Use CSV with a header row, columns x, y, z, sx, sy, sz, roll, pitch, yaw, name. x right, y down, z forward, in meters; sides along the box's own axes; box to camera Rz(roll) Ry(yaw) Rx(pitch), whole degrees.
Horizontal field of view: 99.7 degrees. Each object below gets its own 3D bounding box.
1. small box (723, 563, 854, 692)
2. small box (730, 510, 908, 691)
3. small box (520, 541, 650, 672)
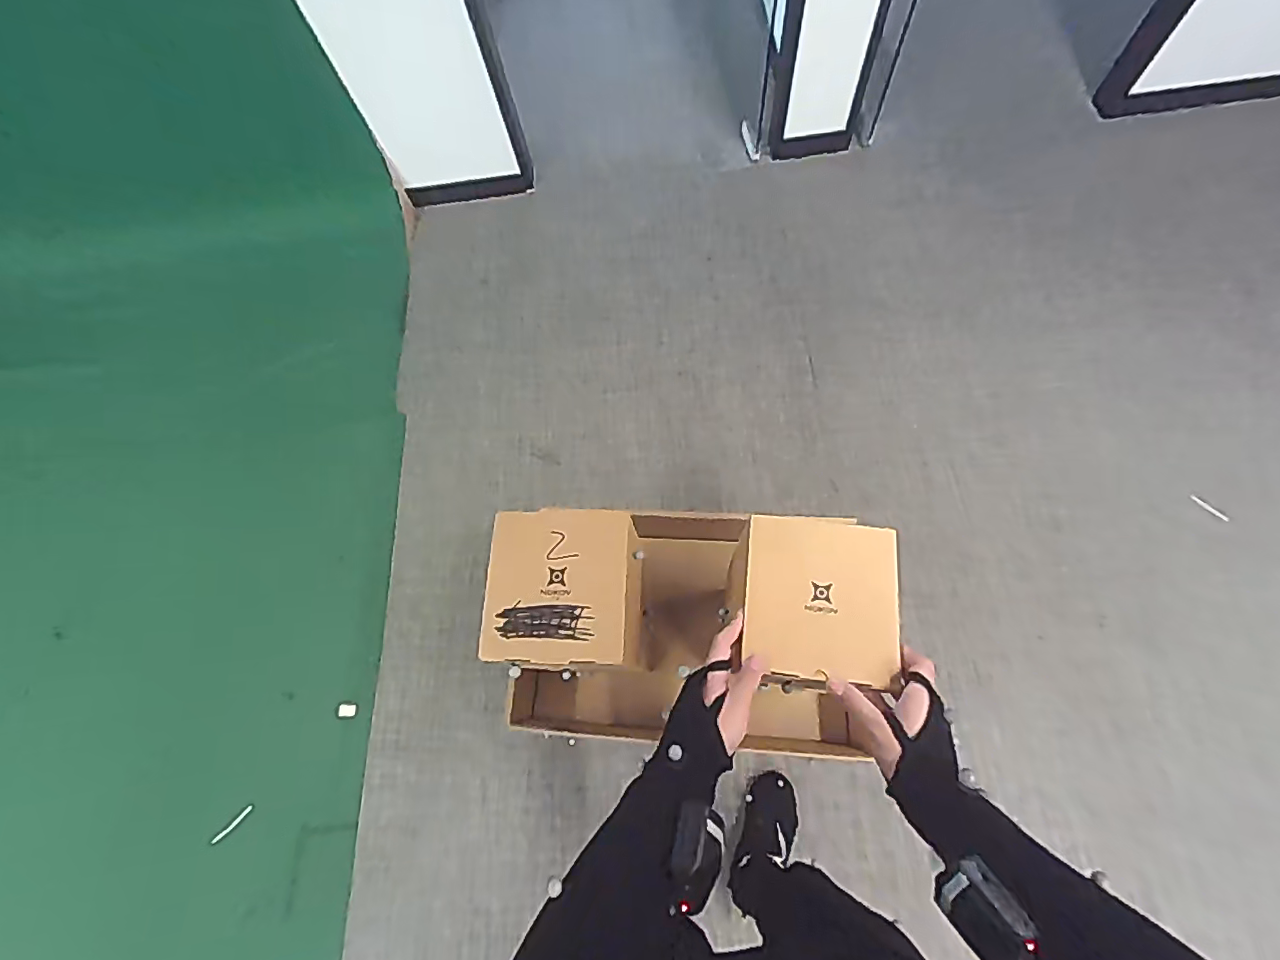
x,y,z,sx,sy,sz,roll,pitch,yaw,name
0.215,0.215,0.811,0.168,0.176,0.179,5,70,8,small box
0.205,0.152,0.657,0.168,0.176,0.179,6,70,5,small box
-0.075,0.201,0.842,0.168,0.176,0.179,-1,69,6,small box
